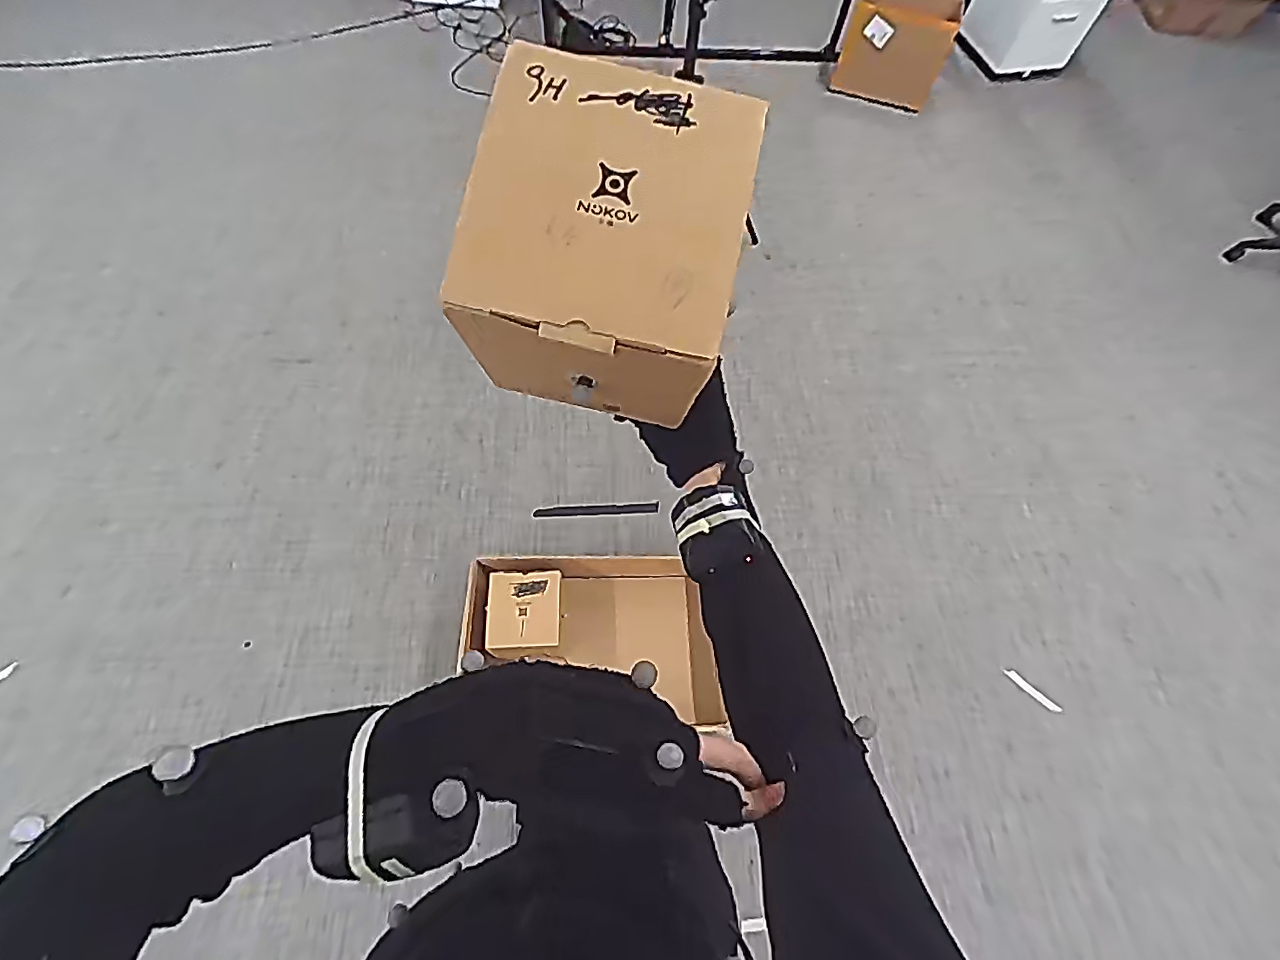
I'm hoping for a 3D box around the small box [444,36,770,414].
[{"bbox_3d":[-0.020,-0.159,0.399,0.168,0.176,0.179,12,83,-2],"label":"small box"}]
